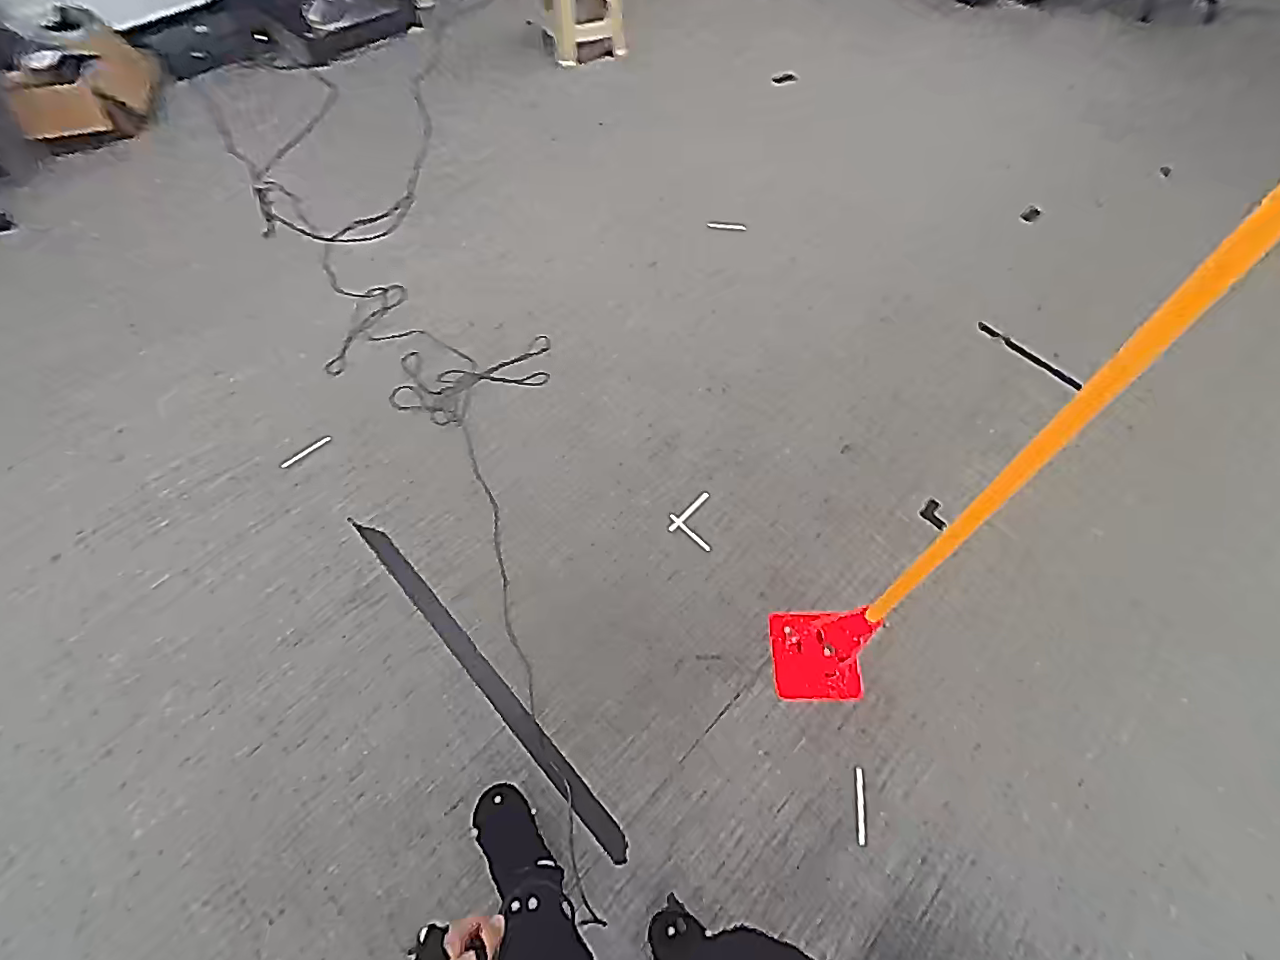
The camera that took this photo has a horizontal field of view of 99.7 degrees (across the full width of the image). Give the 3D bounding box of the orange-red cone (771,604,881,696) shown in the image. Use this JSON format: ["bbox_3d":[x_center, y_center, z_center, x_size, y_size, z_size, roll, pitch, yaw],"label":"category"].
[{"bbox_3d":[0.411,0.322,1.114,0.198,0.360,0.199,1,63,0],"label":"orange-red cone"}]
